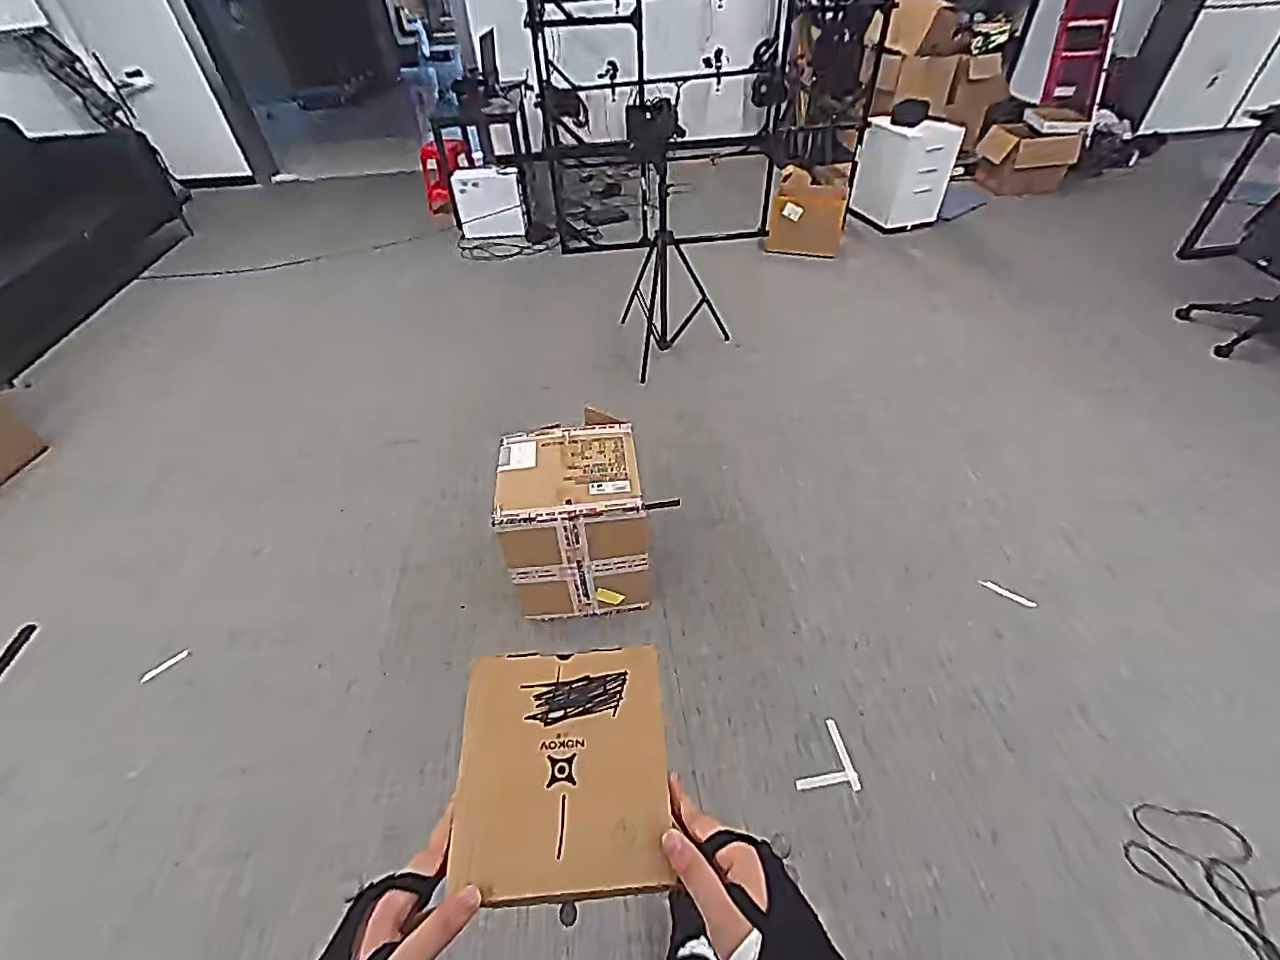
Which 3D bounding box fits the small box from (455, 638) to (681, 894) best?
[{"bbox_3d":[-0.058,0.266,0.501,0.168,0.176,0.179,-3,52,-3],"label":"small box"}]
